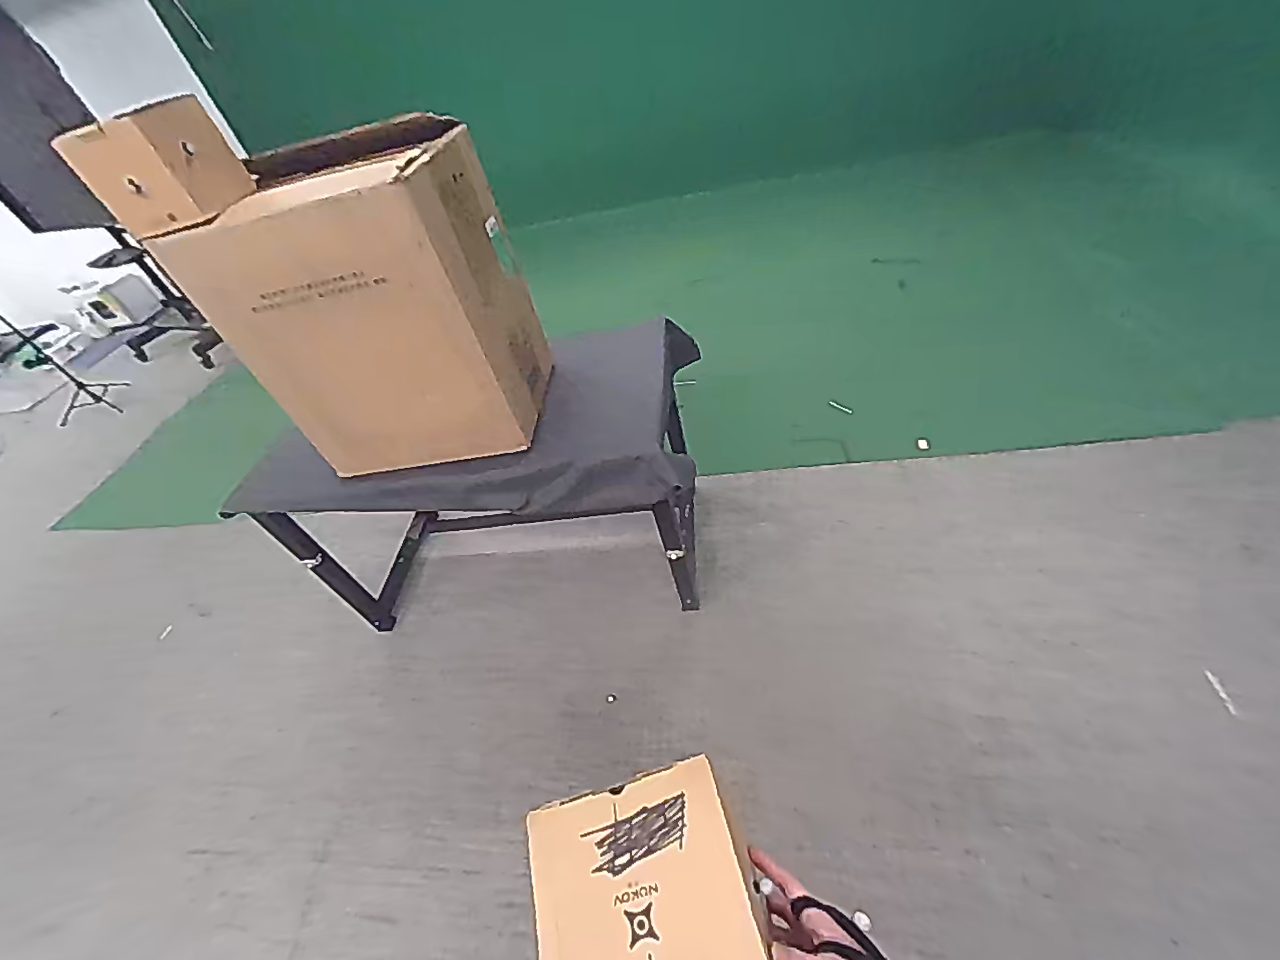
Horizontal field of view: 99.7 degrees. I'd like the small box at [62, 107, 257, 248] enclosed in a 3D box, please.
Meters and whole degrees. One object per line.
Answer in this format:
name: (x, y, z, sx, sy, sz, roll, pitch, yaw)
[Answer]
small box: (-0.866, -0.550, 0.998, 0.168, 0.176, 0.179, -9, 45, 12)
